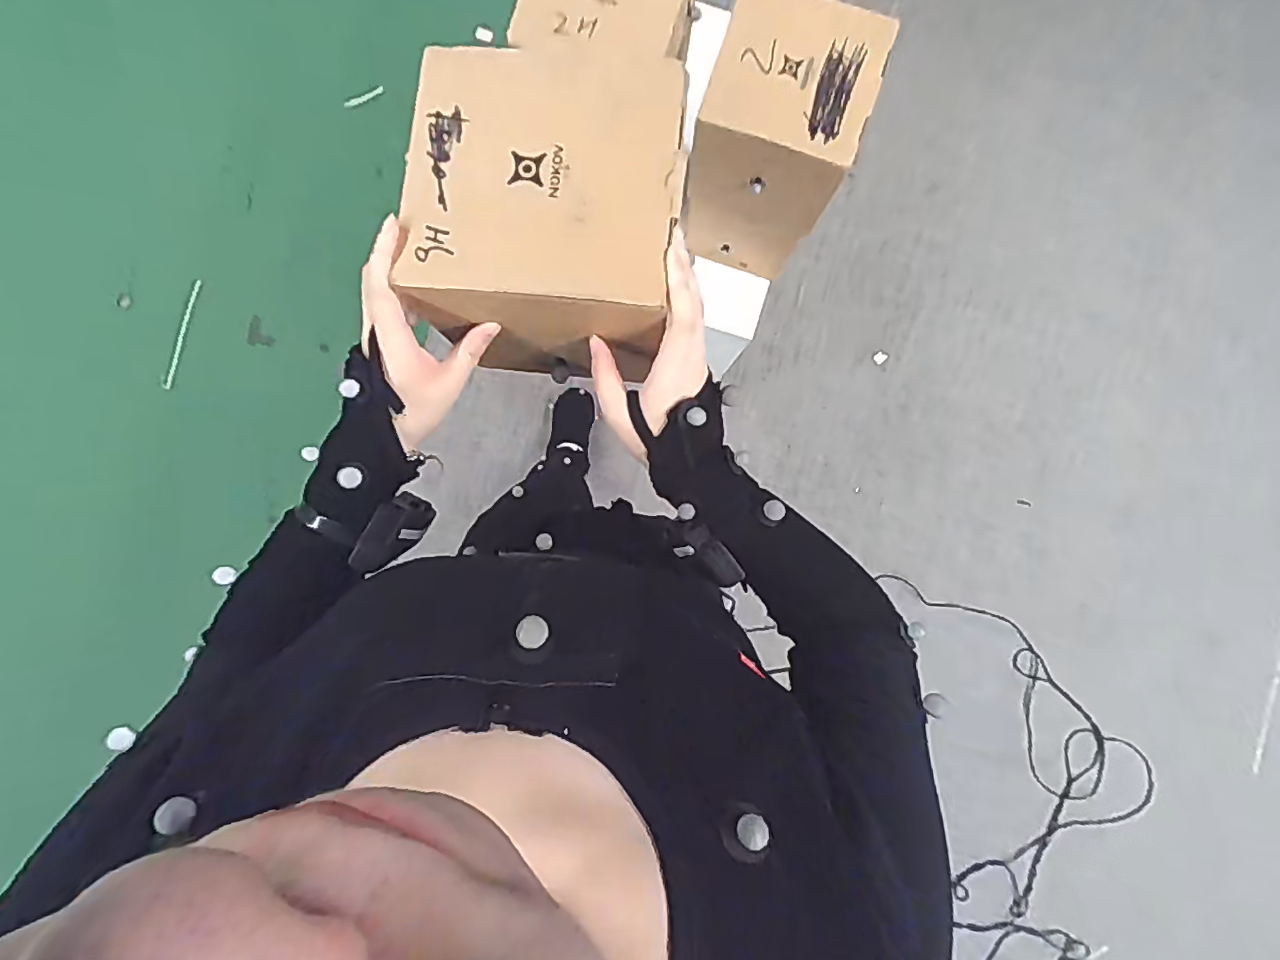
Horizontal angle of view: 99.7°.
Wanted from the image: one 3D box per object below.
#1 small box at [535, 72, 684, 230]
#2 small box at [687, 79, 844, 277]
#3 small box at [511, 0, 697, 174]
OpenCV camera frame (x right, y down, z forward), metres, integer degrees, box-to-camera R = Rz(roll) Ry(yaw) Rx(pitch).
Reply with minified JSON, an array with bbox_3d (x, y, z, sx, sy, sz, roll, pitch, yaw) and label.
[{"bbox_3d":[-0.044,-0.515,0.814,0.168,0.176,0.179,17,91,-1],"label":"small box"},{"bbox_3d":[0.176,-0.440,0.816,0.168,0.176,0.179,19,91,1],"label":"small box"},{"bbox_3d":[-0.036,-0.517,0.650,0.168,0.176,0.179,18,90,-1],"label":"small box"}]
